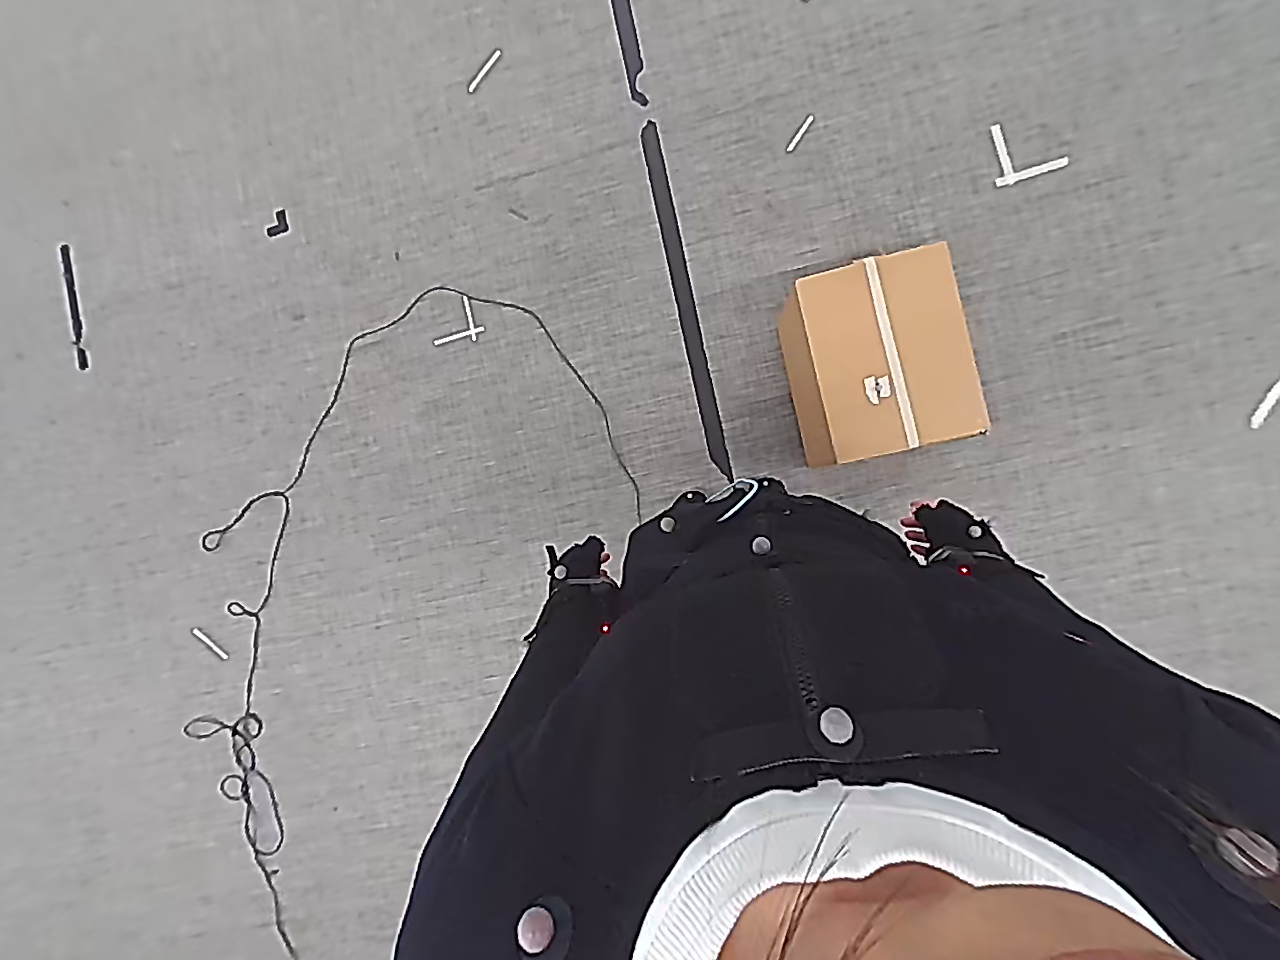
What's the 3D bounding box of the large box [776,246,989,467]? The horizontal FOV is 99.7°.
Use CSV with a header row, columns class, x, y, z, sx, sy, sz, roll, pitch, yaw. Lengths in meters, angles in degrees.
class,x,y,z,sx,sy,sz,roll,pitch,yaw
large box,0.537,-0.261,1.273,0.320,0.320,0.408,-13,89,7
